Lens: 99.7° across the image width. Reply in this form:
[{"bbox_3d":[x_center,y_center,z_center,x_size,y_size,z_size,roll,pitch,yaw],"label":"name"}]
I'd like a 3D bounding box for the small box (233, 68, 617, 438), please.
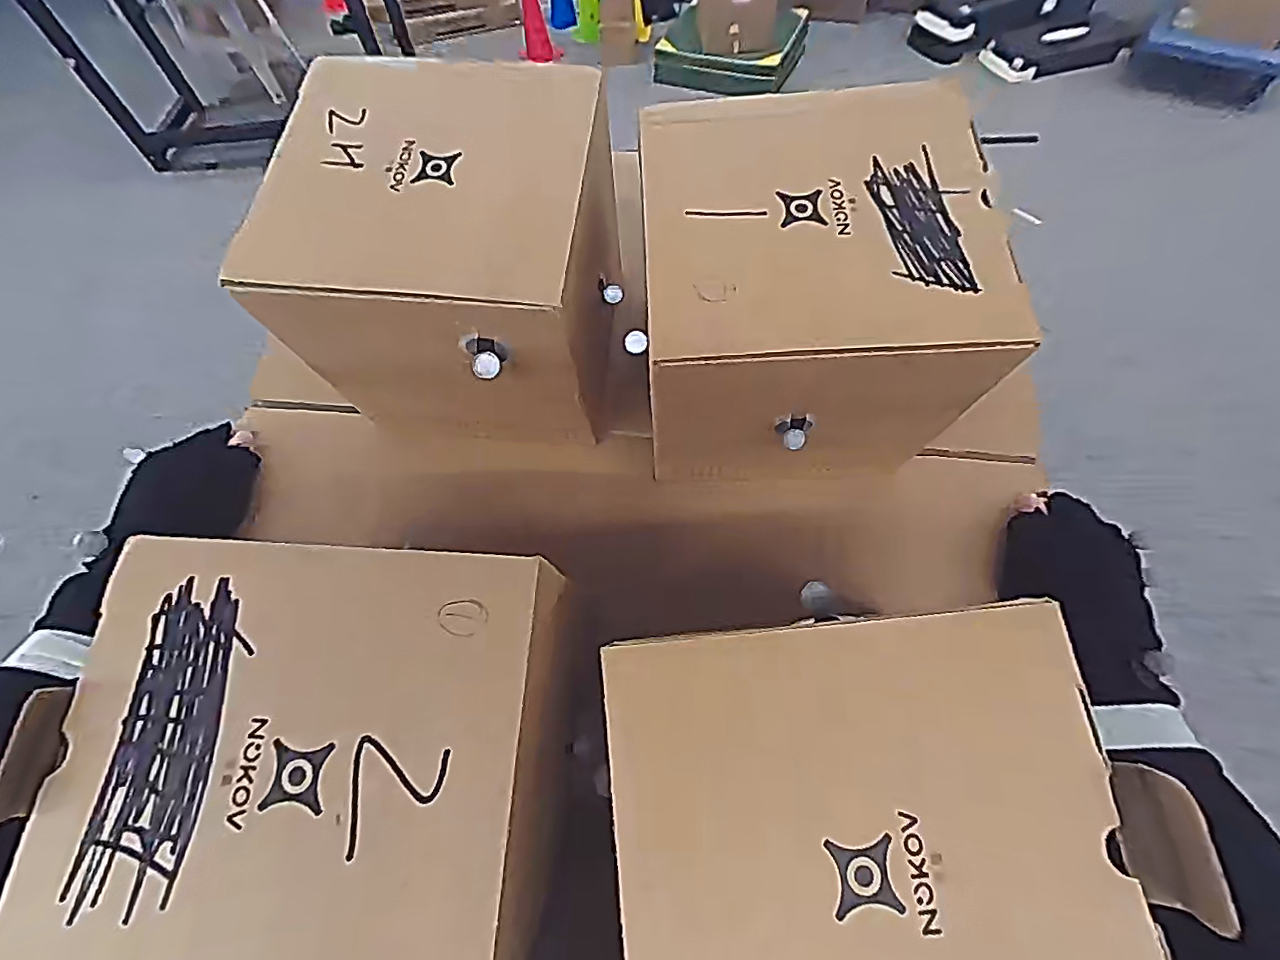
[{"bbox_3d":[-0.114,-0.140,0.376,0.179,0.176,0.168,6,70,4],"label":"small box"}]
